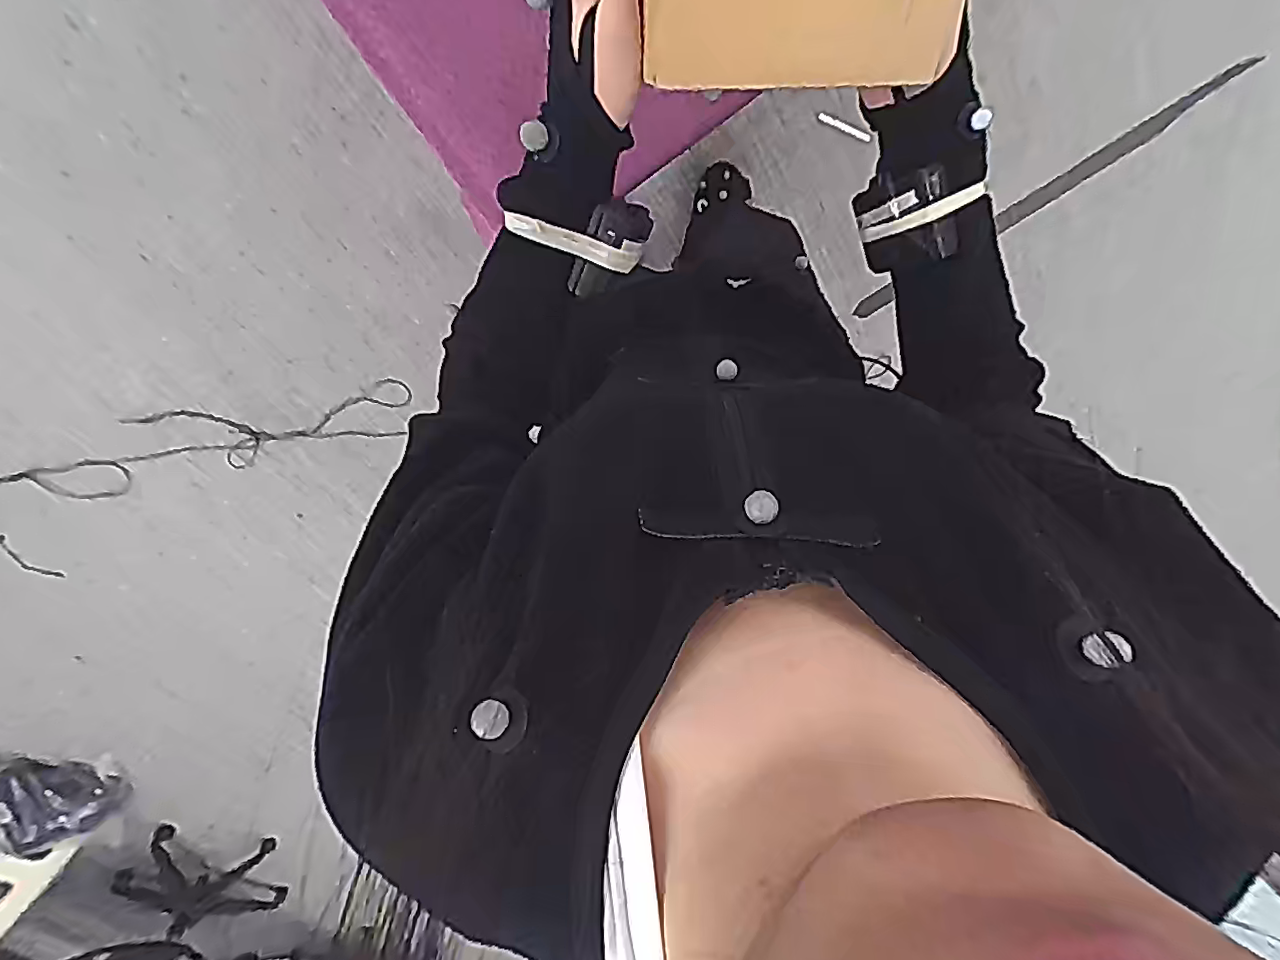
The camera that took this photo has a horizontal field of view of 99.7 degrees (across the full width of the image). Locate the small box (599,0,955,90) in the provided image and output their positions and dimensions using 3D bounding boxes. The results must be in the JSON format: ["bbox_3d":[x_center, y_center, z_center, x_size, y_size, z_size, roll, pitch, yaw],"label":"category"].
[{"bbox_3d":[0.069,-0.331,0.293,0.168,0.176,0.179,-9,133,-11],"label":"small box"}]

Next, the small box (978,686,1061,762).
[{"bbox_3d":[1.393,0.892,1.996,0.168,0.176,0.179,-36,117,13],"label":"small box"}]
